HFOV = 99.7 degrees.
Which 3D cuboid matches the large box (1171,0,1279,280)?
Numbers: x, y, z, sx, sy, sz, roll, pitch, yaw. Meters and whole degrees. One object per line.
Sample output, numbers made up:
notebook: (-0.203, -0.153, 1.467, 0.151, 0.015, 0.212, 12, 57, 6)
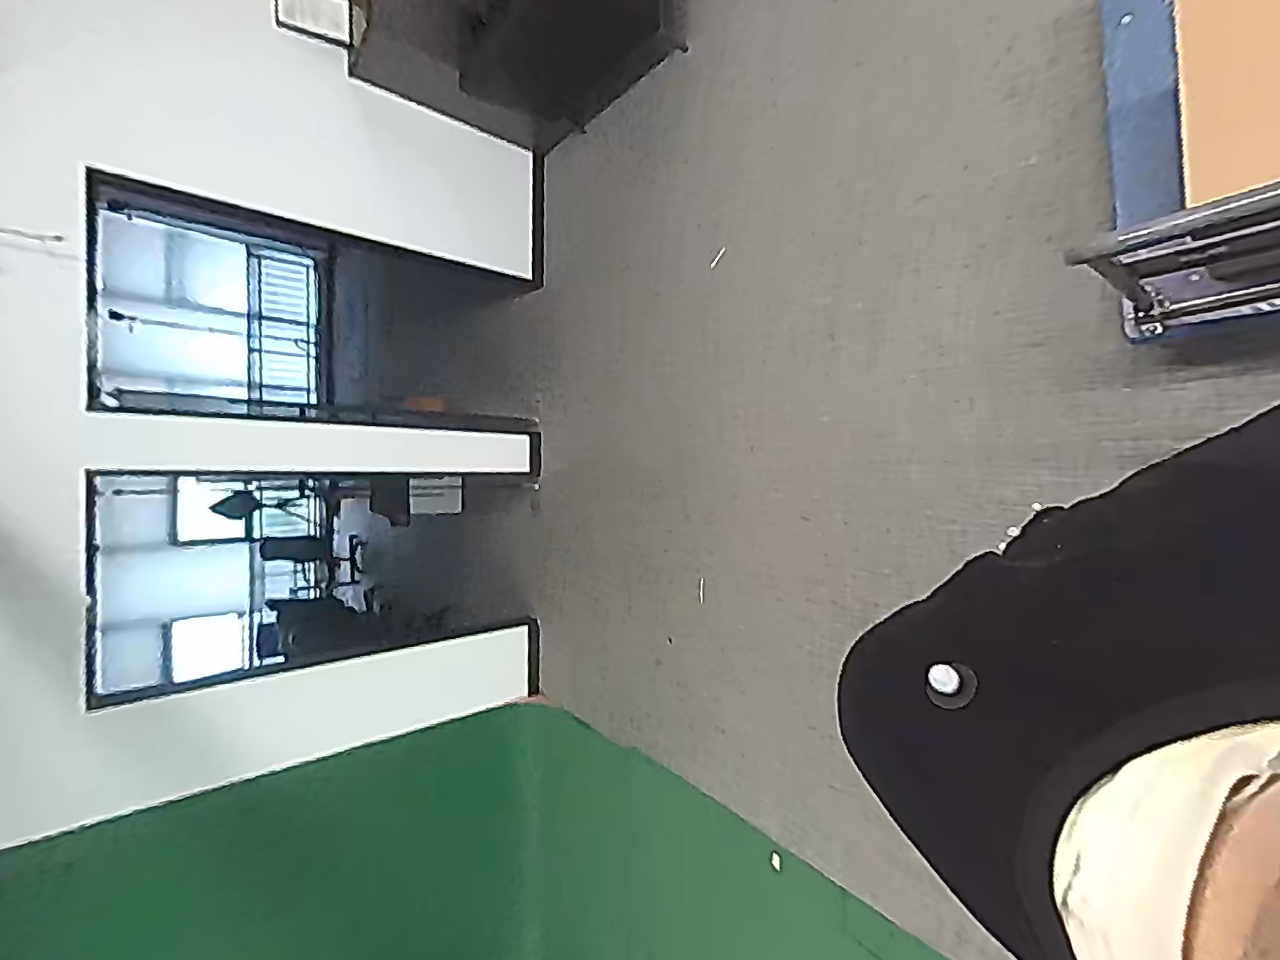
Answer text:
large box: (1.079, -0.587, 0.837, 0.320, 0.320, 0.408, -5, 85, 51)
